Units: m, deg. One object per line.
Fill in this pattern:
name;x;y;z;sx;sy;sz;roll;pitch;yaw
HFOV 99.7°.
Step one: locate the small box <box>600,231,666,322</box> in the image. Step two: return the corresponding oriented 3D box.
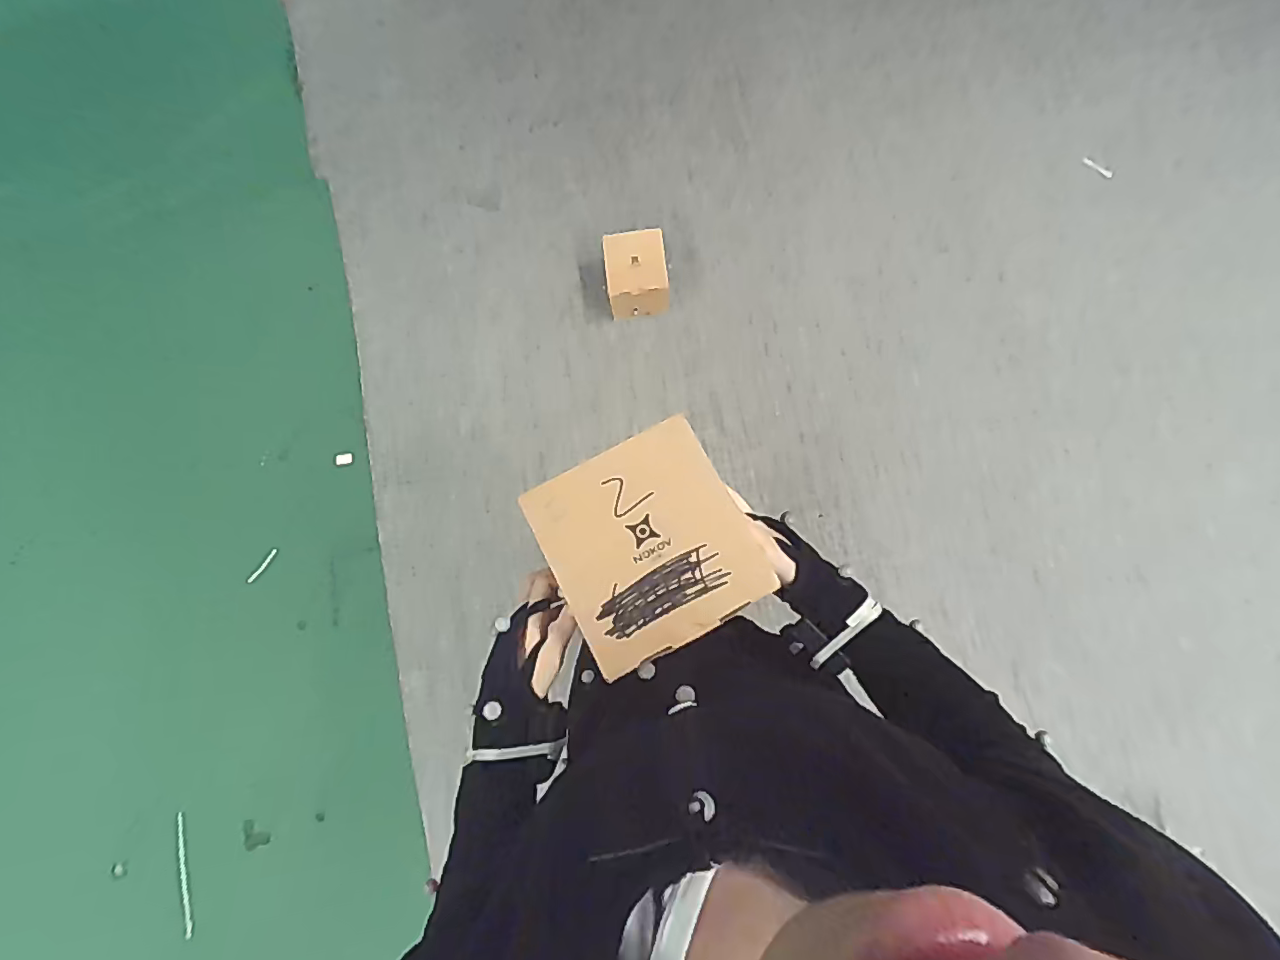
small box;-0.020;-0.573;1.538;0.168;0.176;0.179;-7;82;1
